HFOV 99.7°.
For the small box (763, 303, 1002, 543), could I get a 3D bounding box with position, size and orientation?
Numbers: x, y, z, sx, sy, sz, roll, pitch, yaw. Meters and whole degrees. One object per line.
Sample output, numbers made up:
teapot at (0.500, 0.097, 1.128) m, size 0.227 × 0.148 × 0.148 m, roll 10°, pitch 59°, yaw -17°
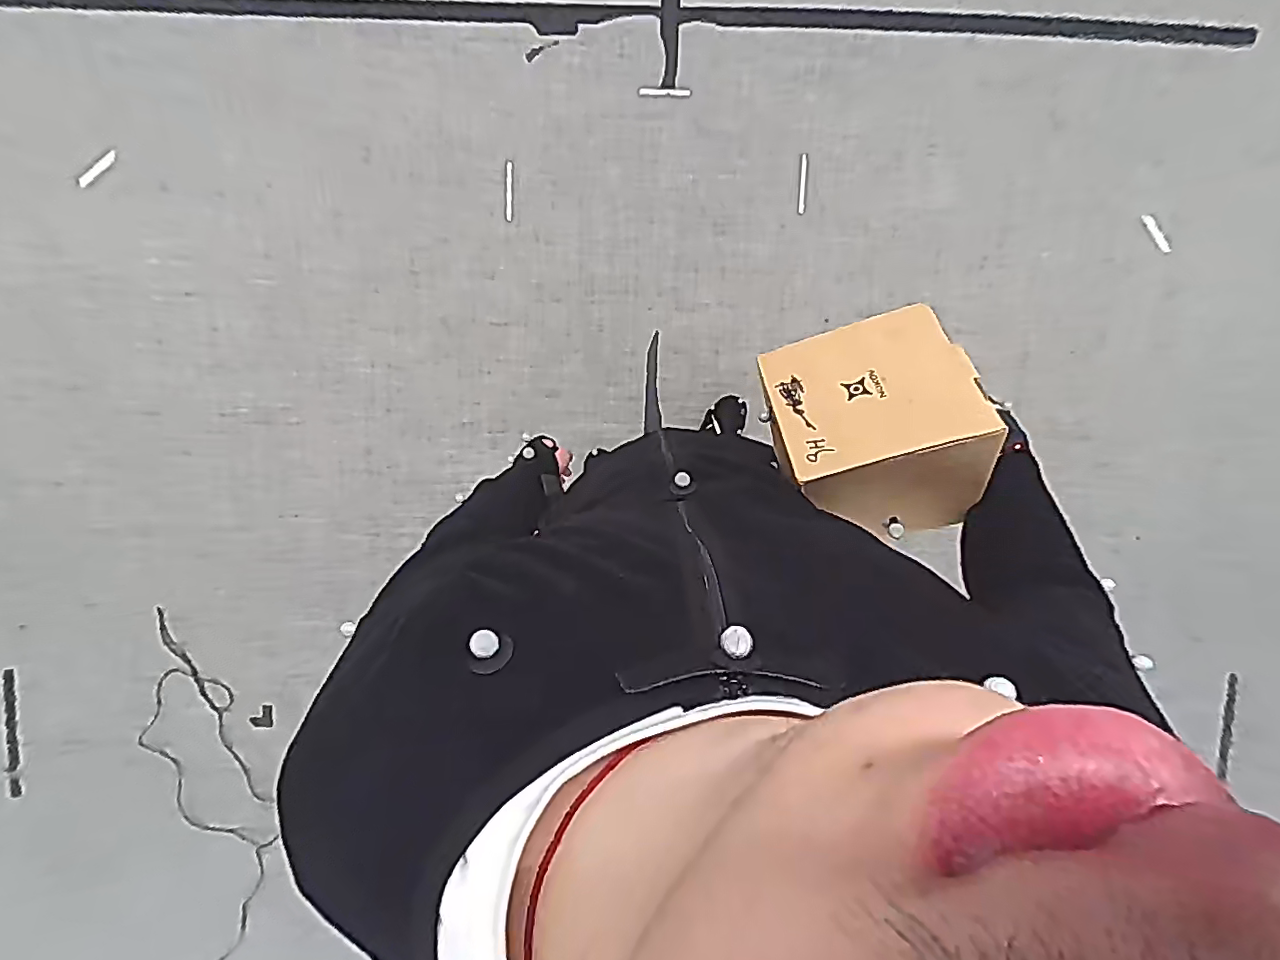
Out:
small box at (0.246, -0.052, 0.585) m, size 0.179 × 0.176 × 0.168 m, roll -16°, pitch 54°, yaw 12°
